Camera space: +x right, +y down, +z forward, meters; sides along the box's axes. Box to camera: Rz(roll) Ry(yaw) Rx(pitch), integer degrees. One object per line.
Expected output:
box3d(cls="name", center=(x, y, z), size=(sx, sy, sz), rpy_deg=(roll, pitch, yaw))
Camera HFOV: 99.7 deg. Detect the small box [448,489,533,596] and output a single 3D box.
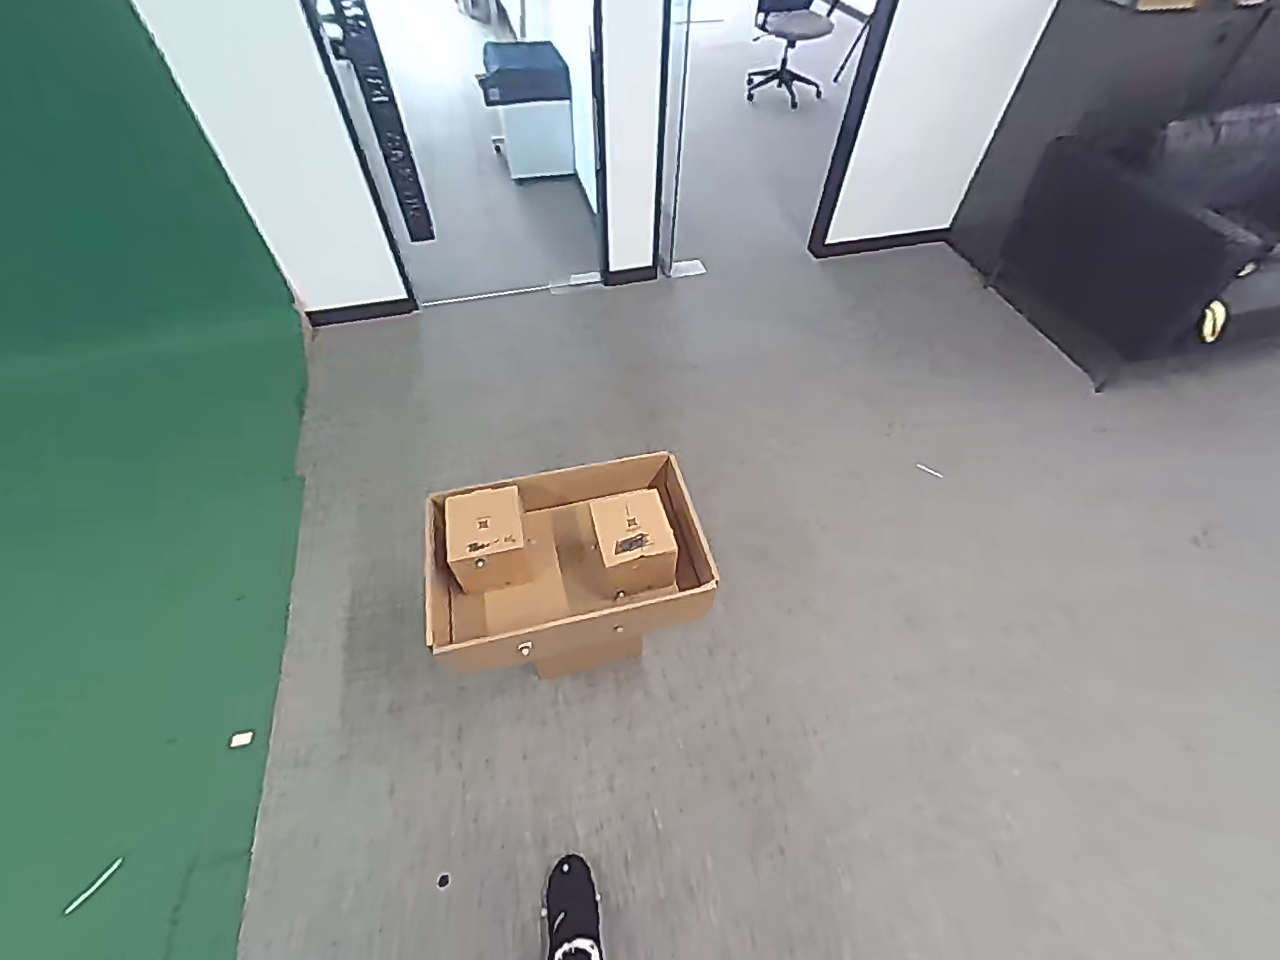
box3d(cls="small box", center=(-0.349, 0.147, 1.272), size=(0.168, 0.176, 0.179), rpy_deg=(-9, 53, -9))
